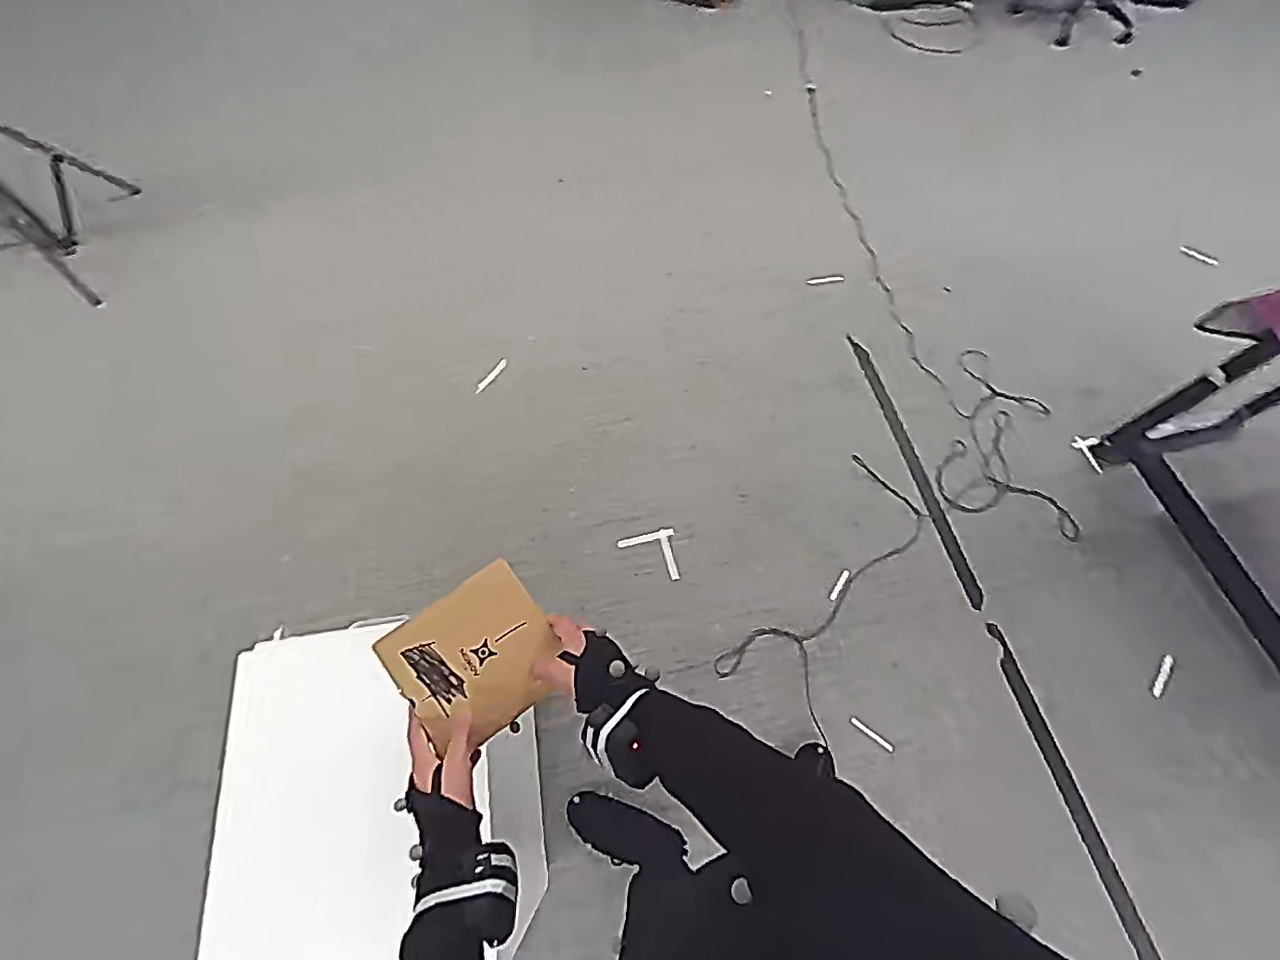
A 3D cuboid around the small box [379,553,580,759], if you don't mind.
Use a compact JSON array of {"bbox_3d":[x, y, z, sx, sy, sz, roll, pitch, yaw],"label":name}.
[{"bbox_3d":[-0.193,0.224,0.698,0.179,0.176,0.168,-33,79,-18],"label":"small box"}]
